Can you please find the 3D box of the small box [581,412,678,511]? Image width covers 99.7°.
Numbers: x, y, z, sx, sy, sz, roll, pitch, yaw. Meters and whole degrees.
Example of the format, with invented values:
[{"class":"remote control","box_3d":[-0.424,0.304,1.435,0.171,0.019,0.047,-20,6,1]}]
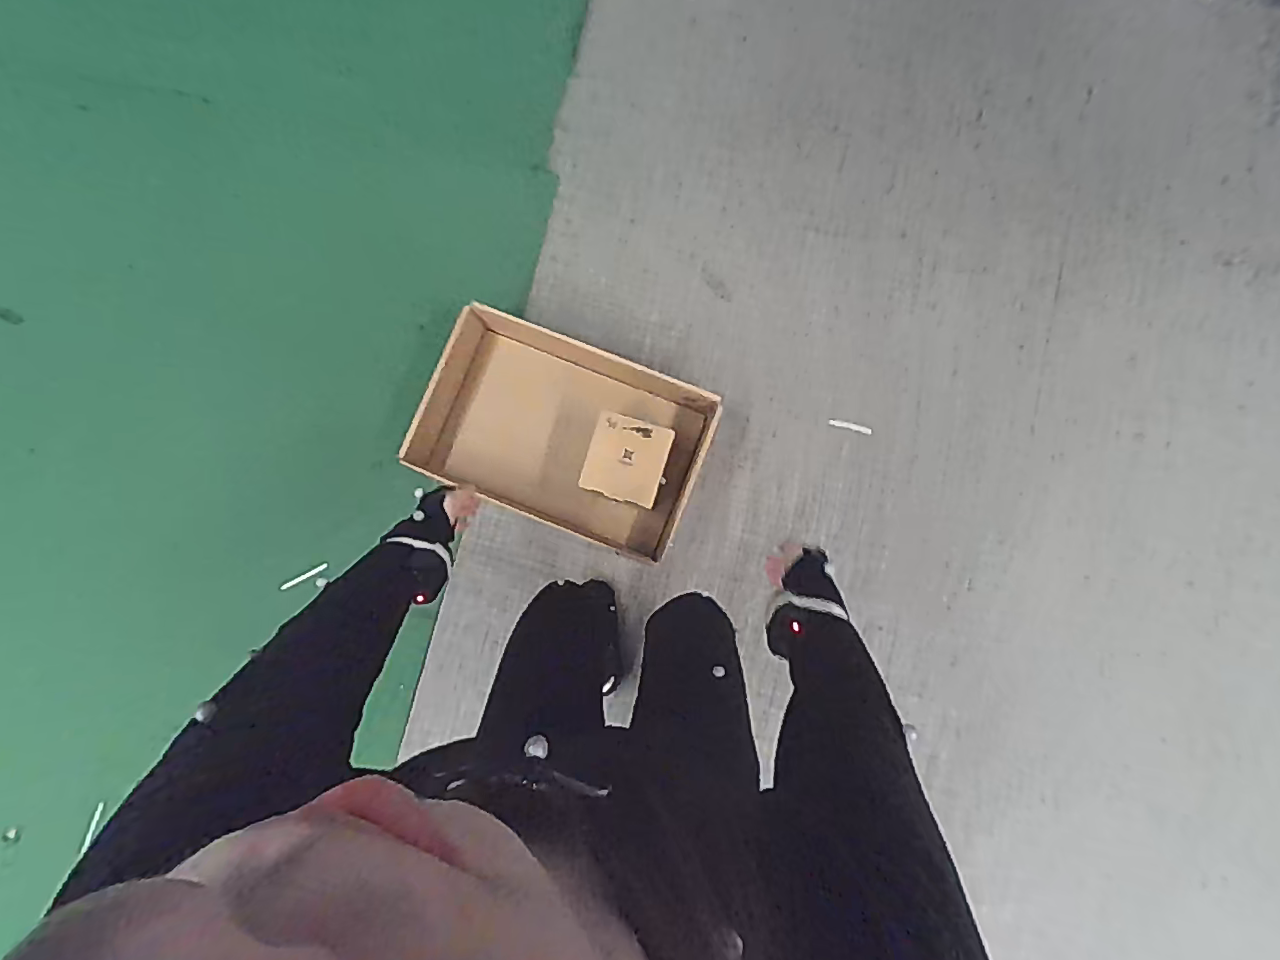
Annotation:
[{"class":"small box","box_3d":[-0.019,-0.033,1.218,0.168,0.176,0.179,18,86,2]}]
